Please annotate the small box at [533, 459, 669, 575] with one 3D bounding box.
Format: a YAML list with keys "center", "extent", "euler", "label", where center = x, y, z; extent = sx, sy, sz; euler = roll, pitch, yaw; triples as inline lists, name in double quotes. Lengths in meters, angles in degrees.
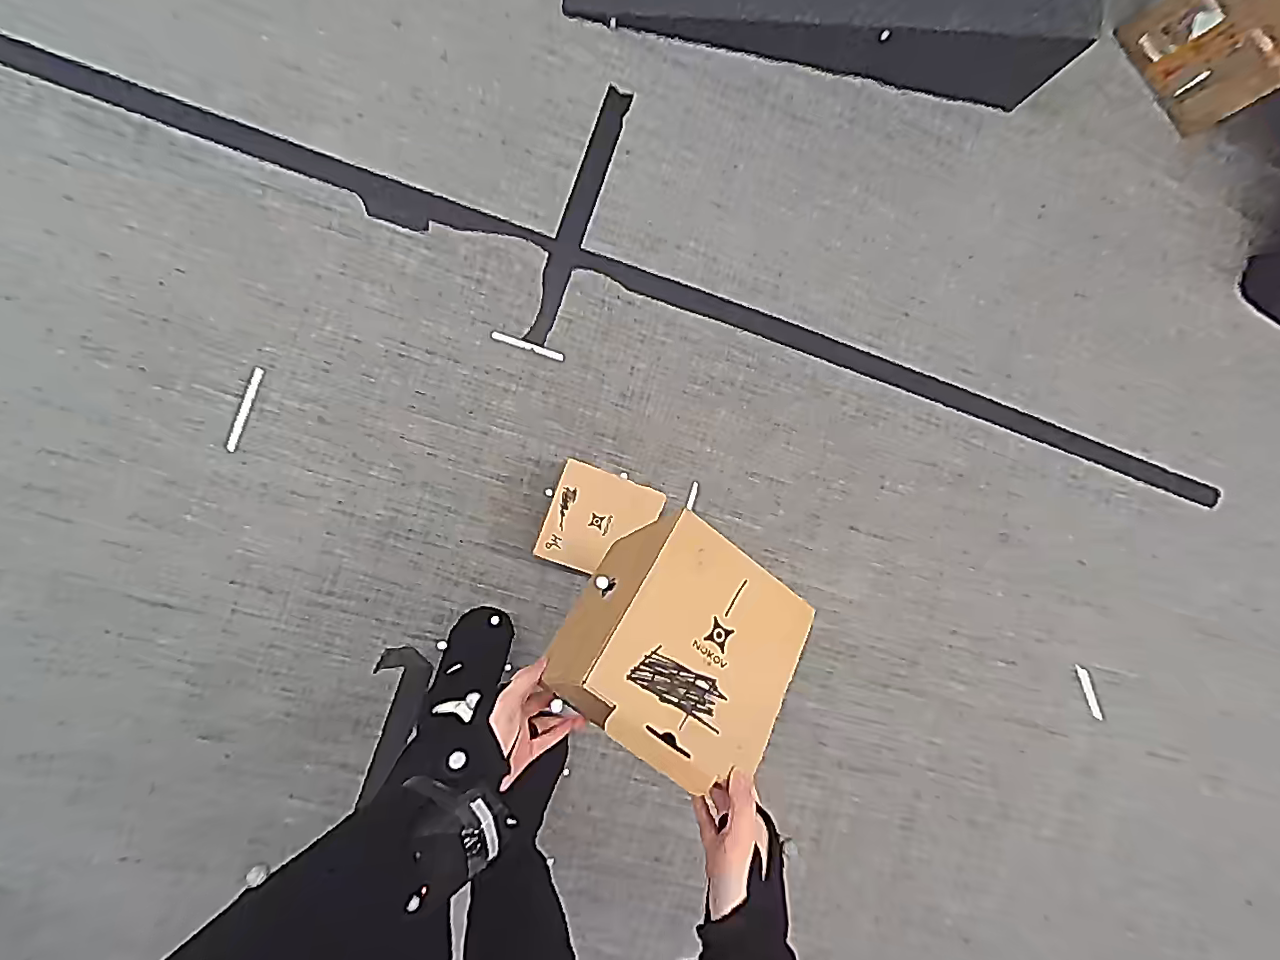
- center: [-0.073, 0.069, 0.937]
  extent: [0.179, 0.176, 0.168]
  euler: [22, 86, -10]
  label: "small box"

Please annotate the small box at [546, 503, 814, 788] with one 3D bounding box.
- center: [0.028, 0.155, 0.522]
  extent: [0.168, 0.176, 0.179]
  euler: [39, 60, -10]
  label: "small box"
